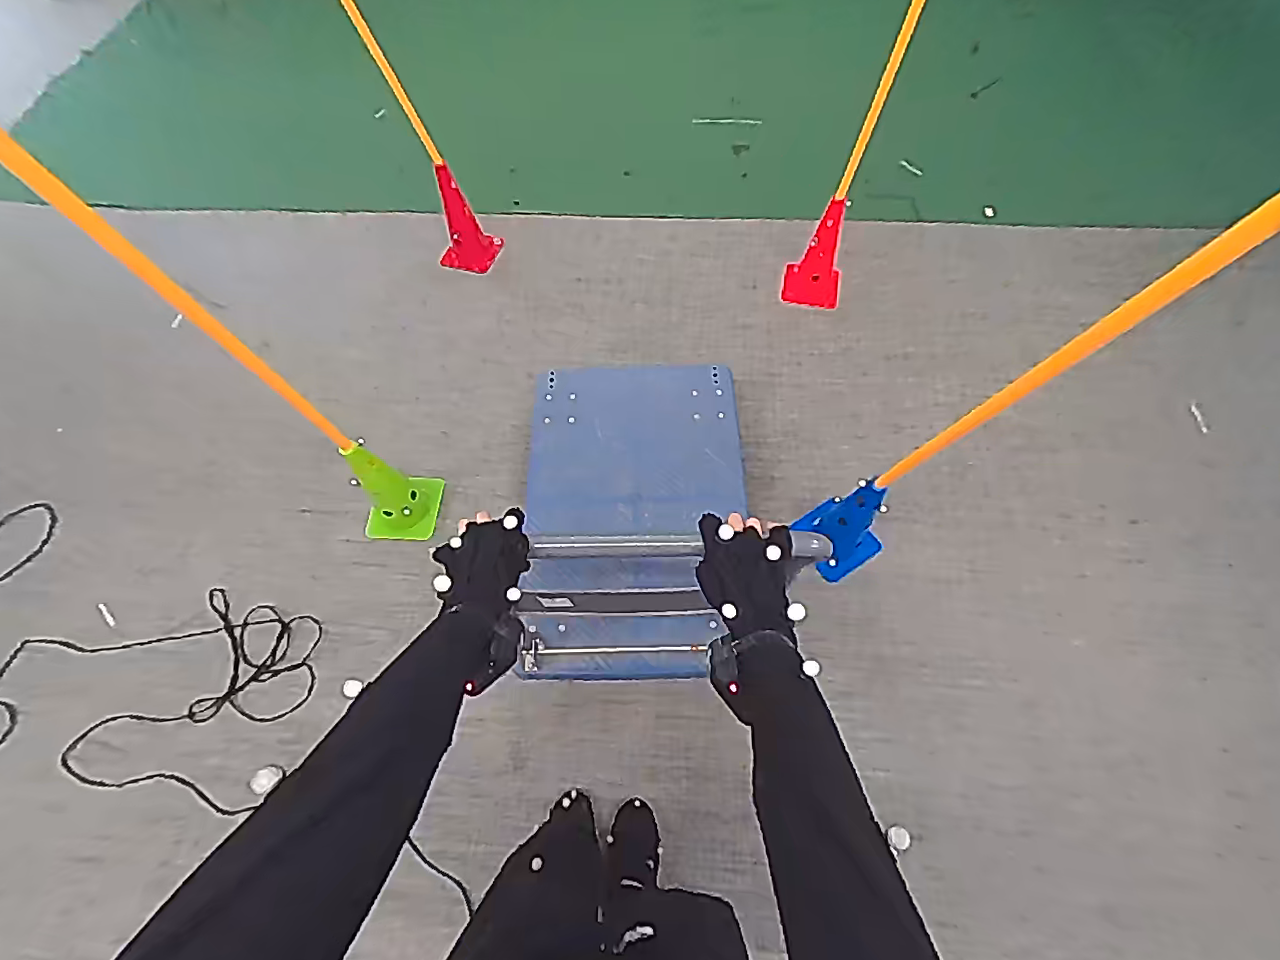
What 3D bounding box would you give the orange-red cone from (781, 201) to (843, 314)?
[{"bbox_3d":[0.618,-0.768,1.826,0.198,0.360,0.199,13,64,9],"label":"orange-red cone"}]
